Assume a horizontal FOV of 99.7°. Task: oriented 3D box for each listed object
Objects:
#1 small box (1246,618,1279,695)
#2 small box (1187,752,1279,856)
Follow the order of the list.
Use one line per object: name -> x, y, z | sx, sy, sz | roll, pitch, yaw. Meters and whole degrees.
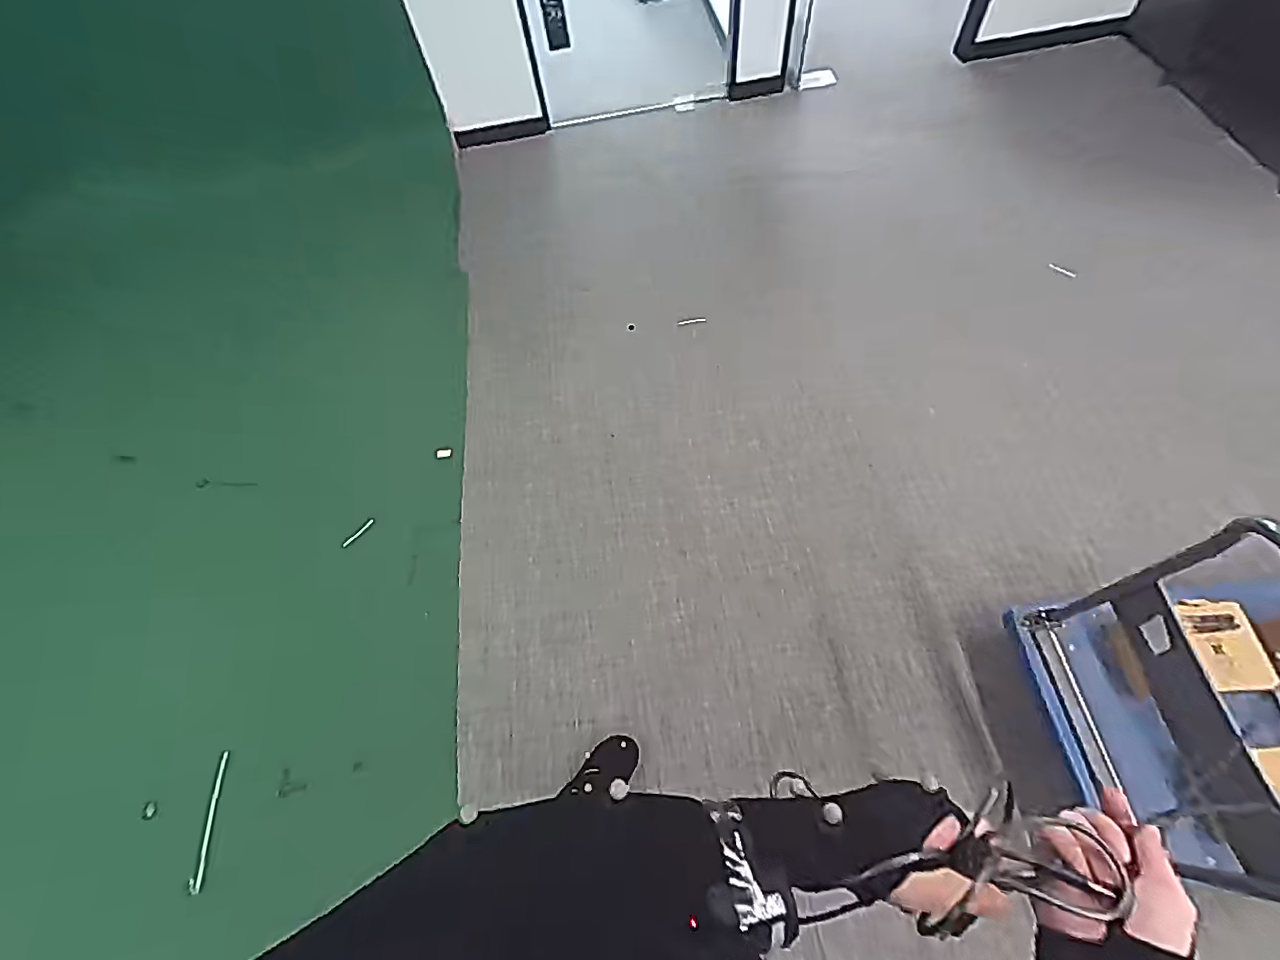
small box -> 1.454, 0.365, 1.131 | 0.179, 0.176, 0.168 | -9, 61, 1
small box -> 1.227, 0.610, 1.027 | 0.179, 0.176, 0.168 | -5, 61, 5
